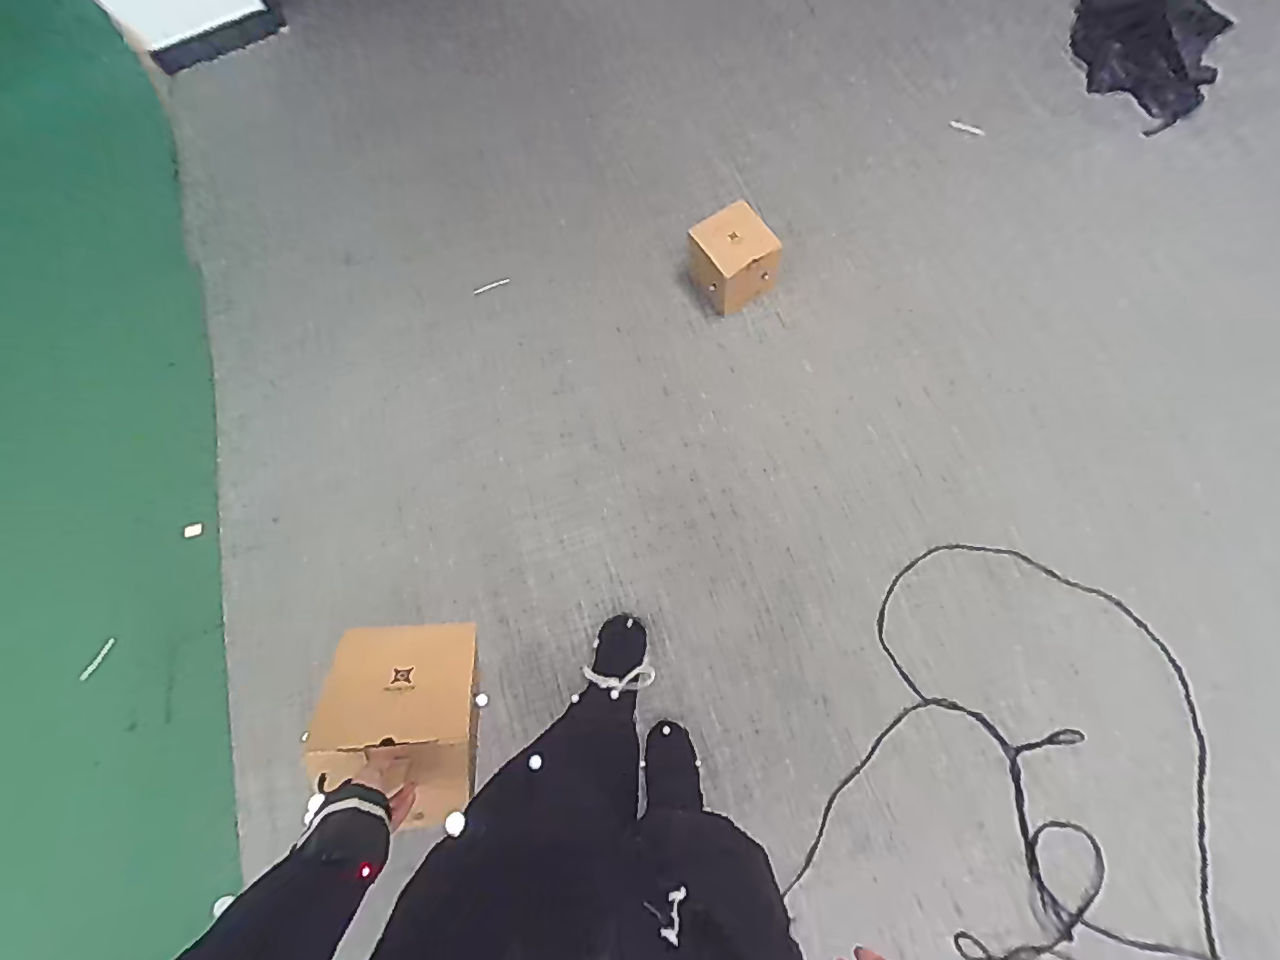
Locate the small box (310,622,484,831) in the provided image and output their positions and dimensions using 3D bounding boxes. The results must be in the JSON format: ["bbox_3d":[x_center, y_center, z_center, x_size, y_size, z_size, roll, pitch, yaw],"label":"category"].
[{"bbox_3d":[-0.290,0.303,0.684,0.168,0.176,0.179,2,31,-13],"label":"small box"}]

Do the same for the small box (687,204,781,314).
[{"bbox_3d":[0.238,-0.557,1.393,0.168,0.176,0.179,-32,71,-5],"label":"small box"}]
